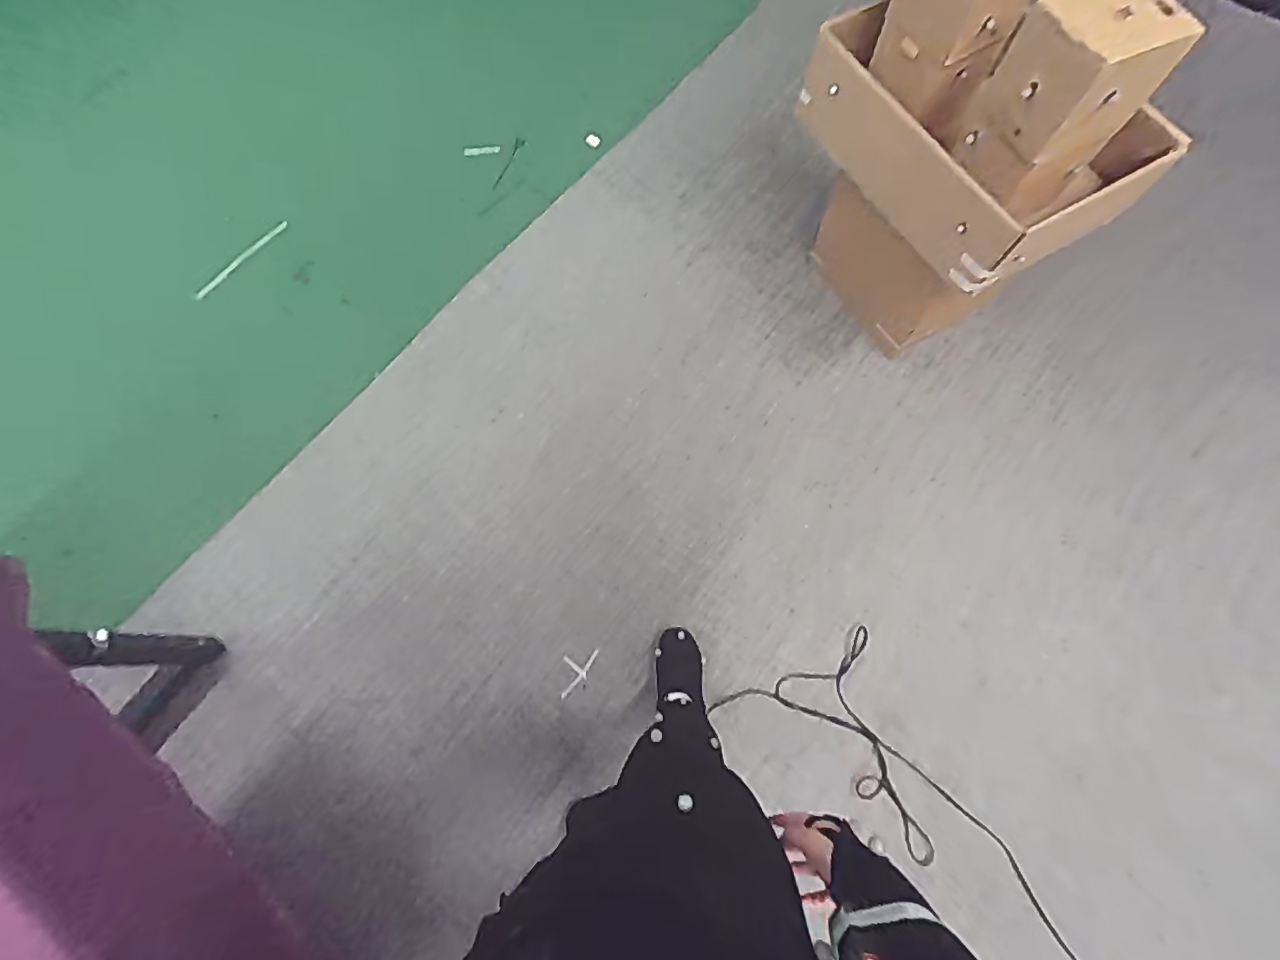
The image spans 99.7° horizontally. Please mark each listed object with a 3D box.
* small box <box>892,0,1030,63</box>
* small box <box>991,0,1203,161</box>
[{"bbox_3d":[0.591,-0.902,0.963,0.168,0.176,0.179,-29,75,-7],"label":"small box"},{"bbox_3d":[0.717,-0.663,0.881,0.179,0.176,0.168,-22,73,-4],"label":"small box"}]
